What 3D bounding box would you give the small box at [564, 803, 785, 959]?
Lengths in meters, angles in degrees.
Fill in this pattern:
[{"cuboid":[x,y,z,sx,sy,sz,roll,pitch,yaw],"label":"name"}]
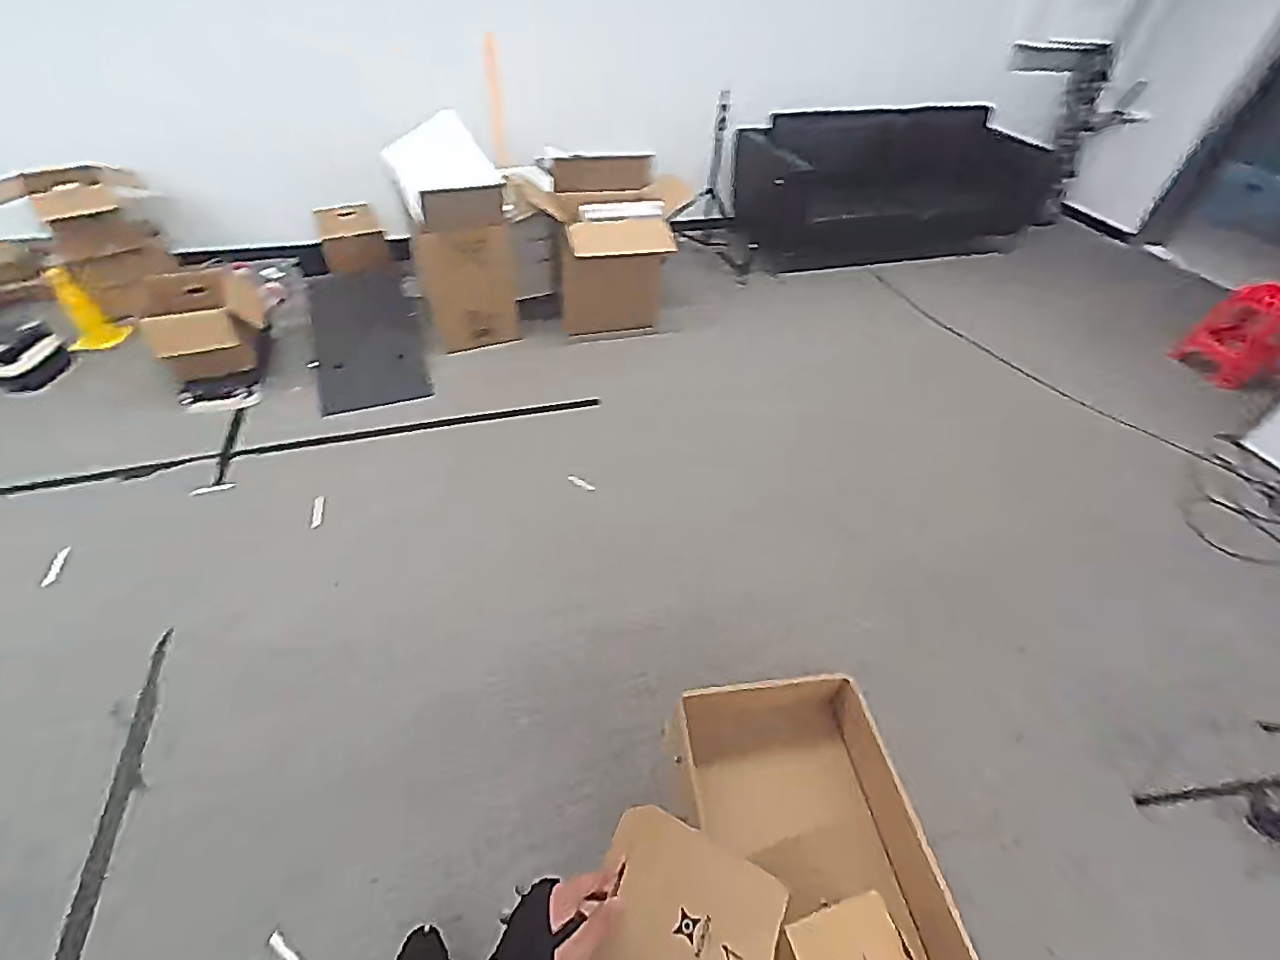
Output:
[{"cuboid":[0.030,0.497,0.607,0.179,0.176,0.168,28,55,5],"label":"small box"}]
